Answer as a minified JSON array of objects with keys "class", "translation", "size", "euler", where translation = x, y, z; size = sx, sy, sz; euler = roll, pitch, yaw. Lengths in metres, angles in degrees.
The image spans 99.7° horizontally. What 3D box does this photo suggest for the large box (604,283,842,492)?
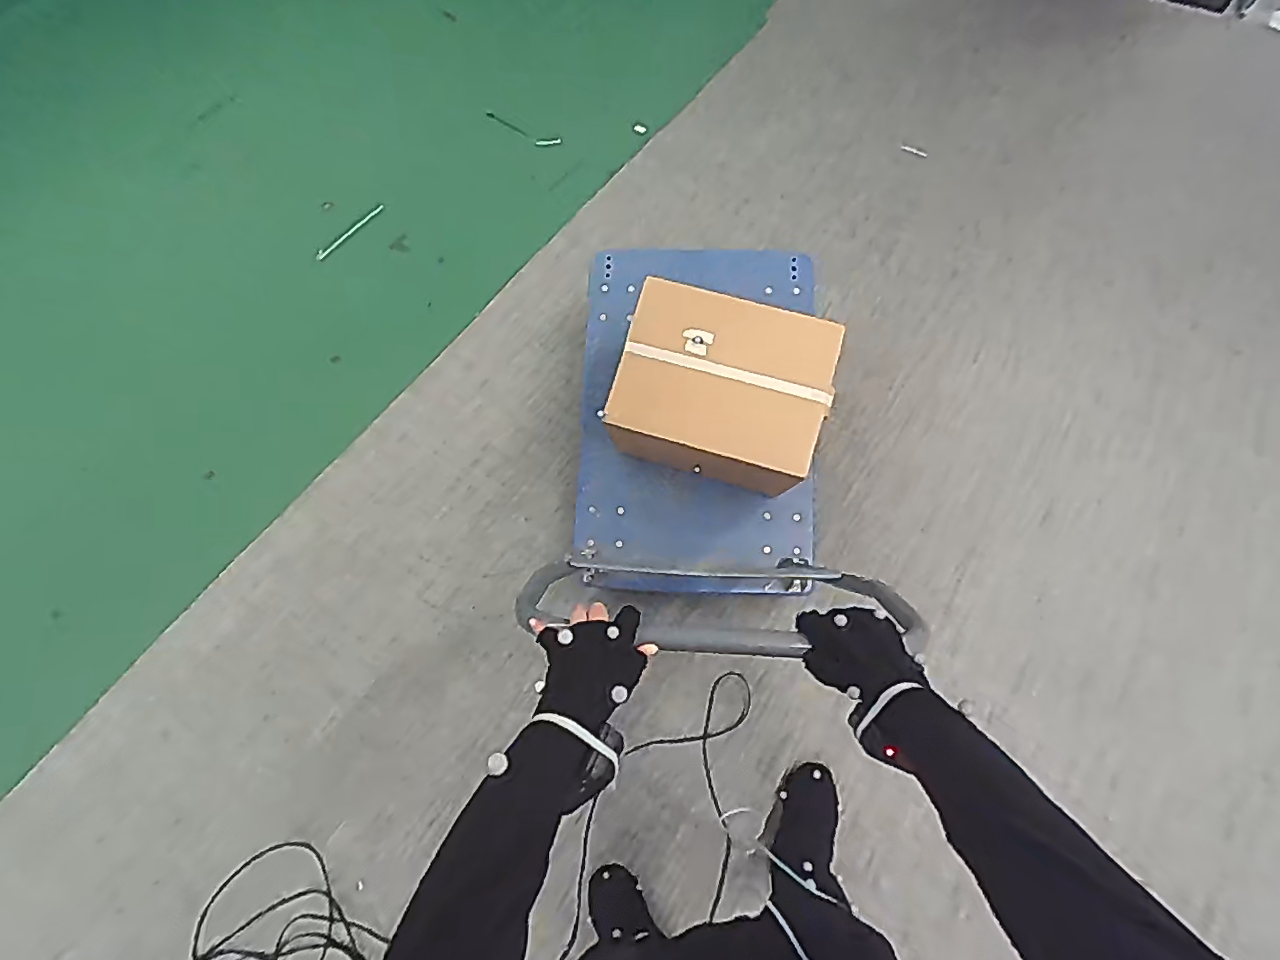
[{"class":"large box","translation":[0.173,-0.180,1.188],"size":[0.408,0.320,0.320],"euler":[16,83,7]}]
